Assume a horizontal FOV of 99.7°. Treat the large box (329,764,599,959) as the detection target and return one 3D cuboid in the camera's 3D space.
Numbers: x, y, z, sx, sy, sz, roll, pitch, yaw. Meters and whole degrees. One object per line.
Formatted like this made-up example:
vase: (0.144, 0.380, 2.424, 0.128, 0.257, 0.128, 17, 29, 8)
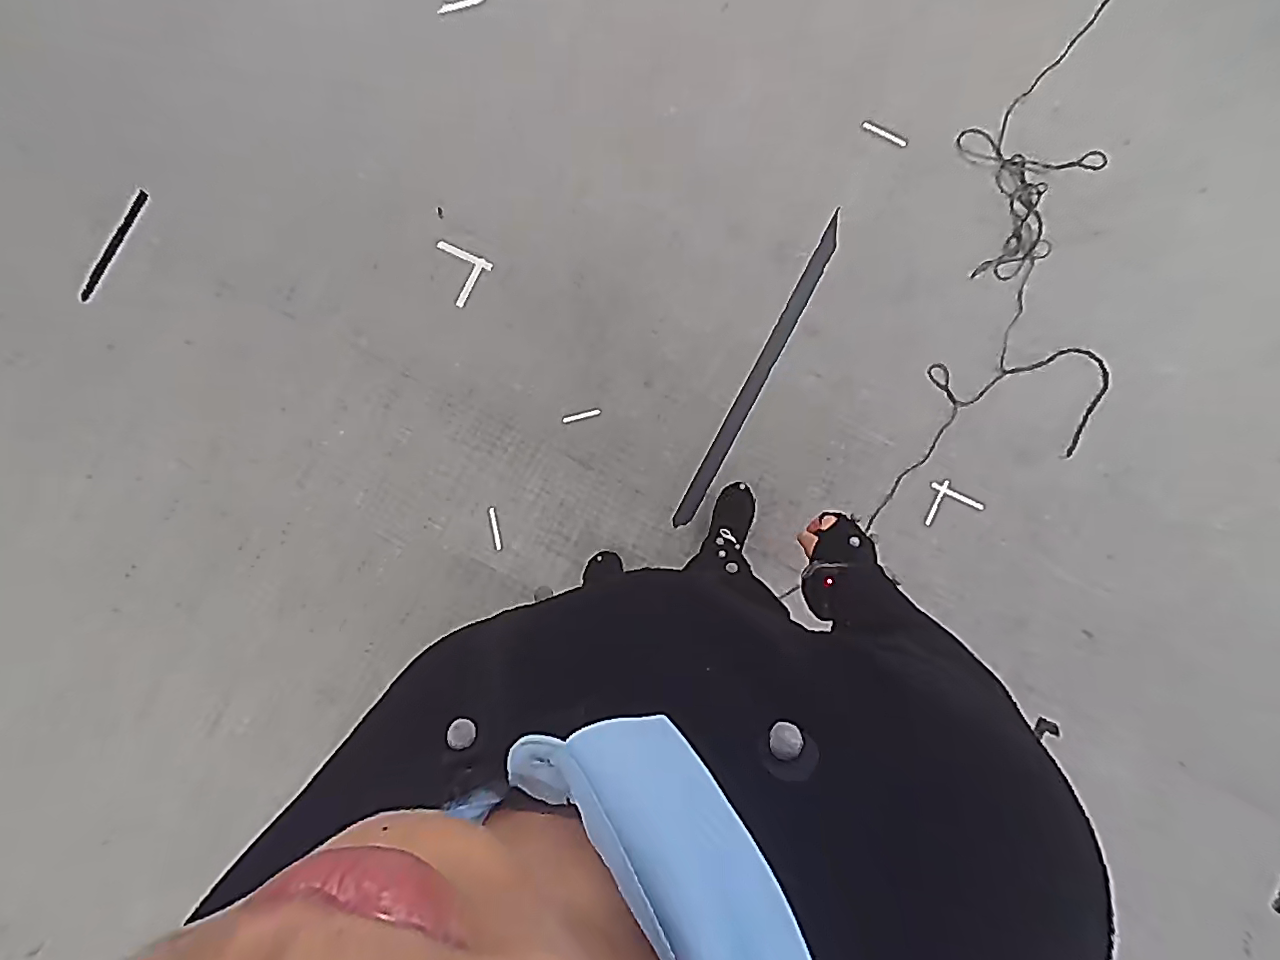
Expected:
large box: (-0.338, 0.877, 1.124, 0.408, 0.320, 0.320, 25, 84, 4)
